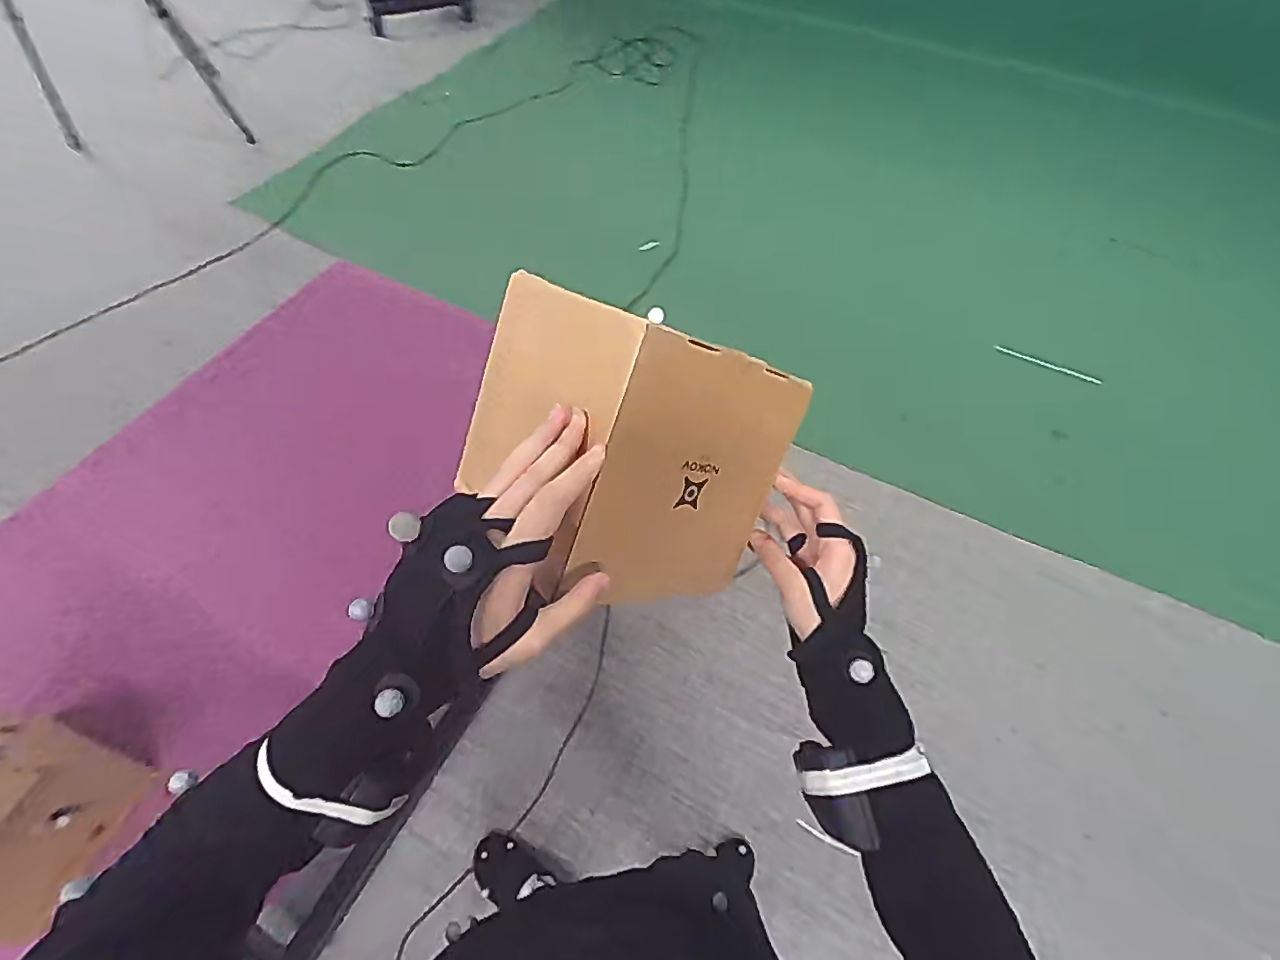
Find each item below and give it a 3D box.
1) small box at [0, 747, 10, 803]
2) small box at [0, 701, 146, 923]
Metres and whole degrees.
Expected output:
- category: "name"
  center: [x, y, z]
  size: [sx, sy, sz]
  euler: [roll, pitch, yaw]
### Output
- category: "small box"
  center: [-0.657, 0.259, 0.402]
  size: [0.168, 0.176, 0.179]
  euler: [19, 61, 10]
- category: "small box"
  center: [-0.681, 0.331, 0.549]
  size: [0.179, 0.176, 0.168]
  euler: [19, 60, 11]
